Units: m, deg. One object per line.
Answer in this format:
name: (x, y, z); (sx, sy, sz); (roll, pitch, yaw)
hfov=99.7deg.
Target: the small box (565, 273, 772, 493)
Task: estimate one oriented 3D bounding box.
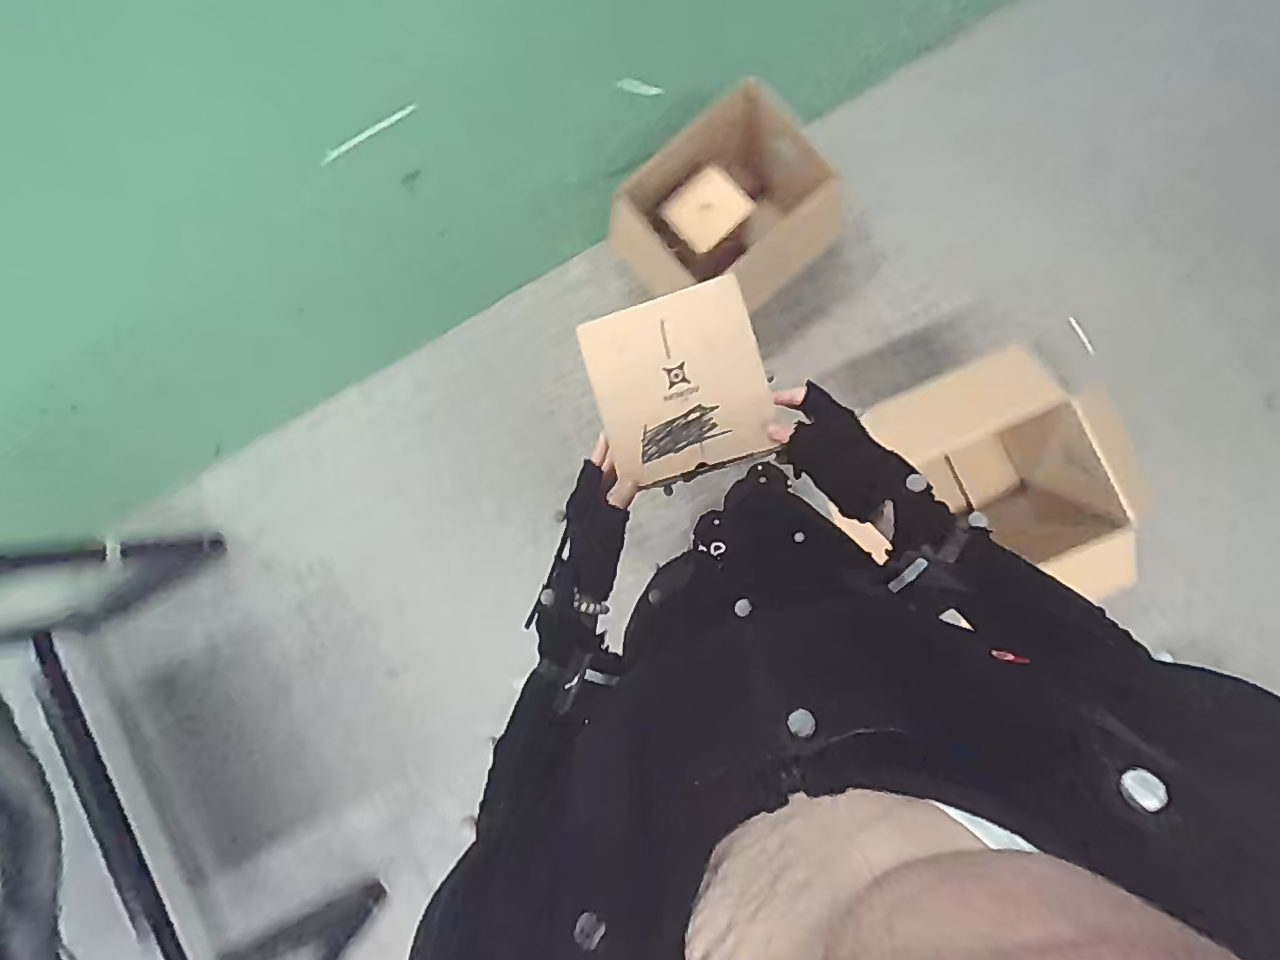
small box: (0.038, -0.093, 0.598); (0.168, 0.176, 0.179); (-17, 87, 8)
